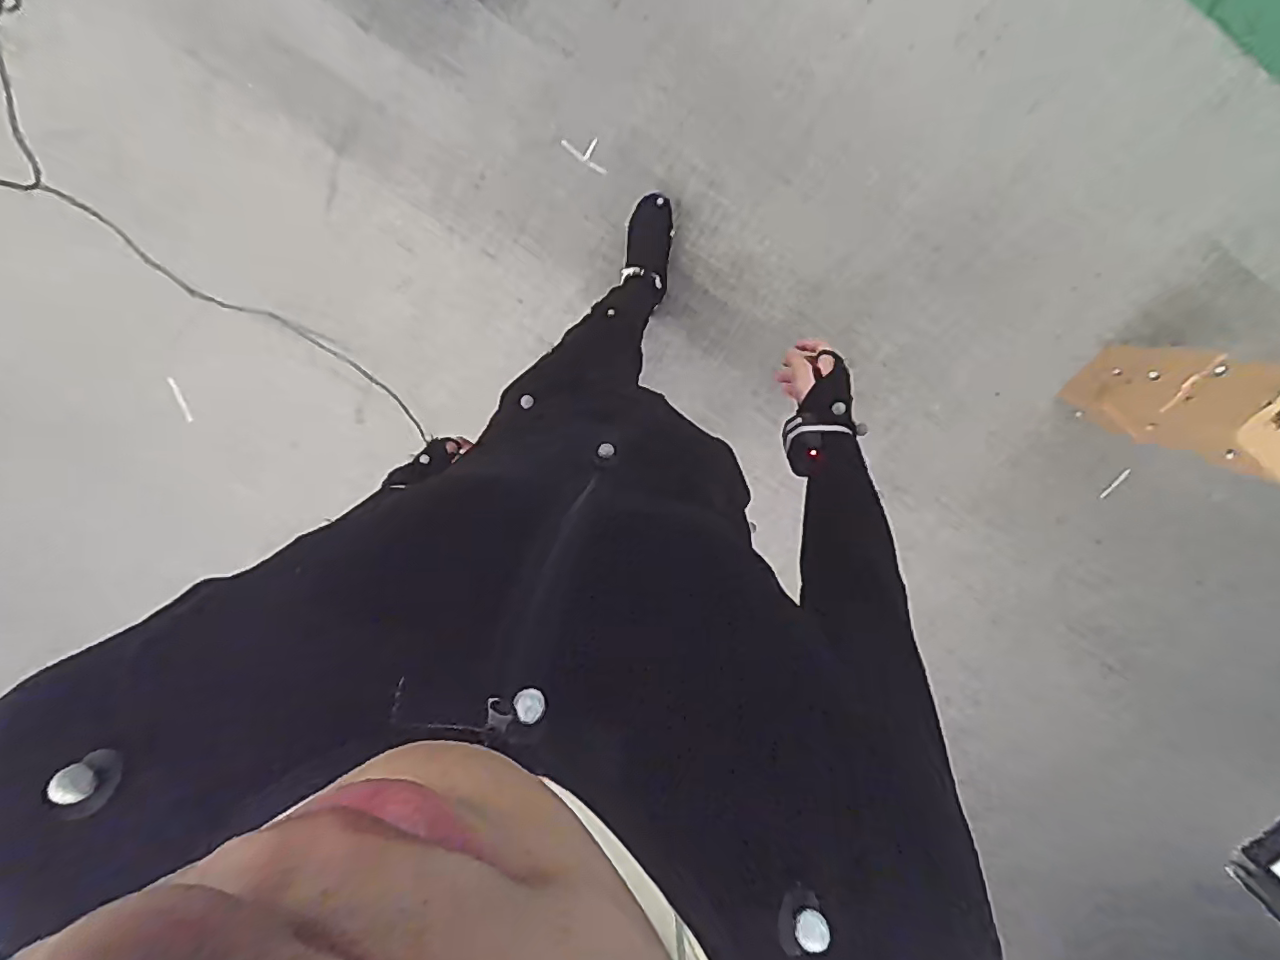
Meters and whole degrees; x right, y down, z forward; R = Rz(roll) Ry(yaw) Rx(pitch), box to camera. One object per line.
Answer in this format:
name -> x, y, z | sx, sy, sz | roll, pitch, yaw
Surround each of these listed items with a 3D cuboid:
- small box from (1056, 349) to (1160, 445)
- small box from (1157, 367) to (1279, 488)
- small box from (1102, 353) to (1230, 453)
small box -> 1.258, -0.225, 1.417 | 0.168, 0.176, 0.179 | 38, 106, -9
small box -> 1.243, -0.117, 1.108 | 0.179, 0.176, 0.168 | 36, 106, -9
small box -> 1.250, -0.180, 1.260 | 0.179, 0.176, 0.168 | 38, 106, -8
